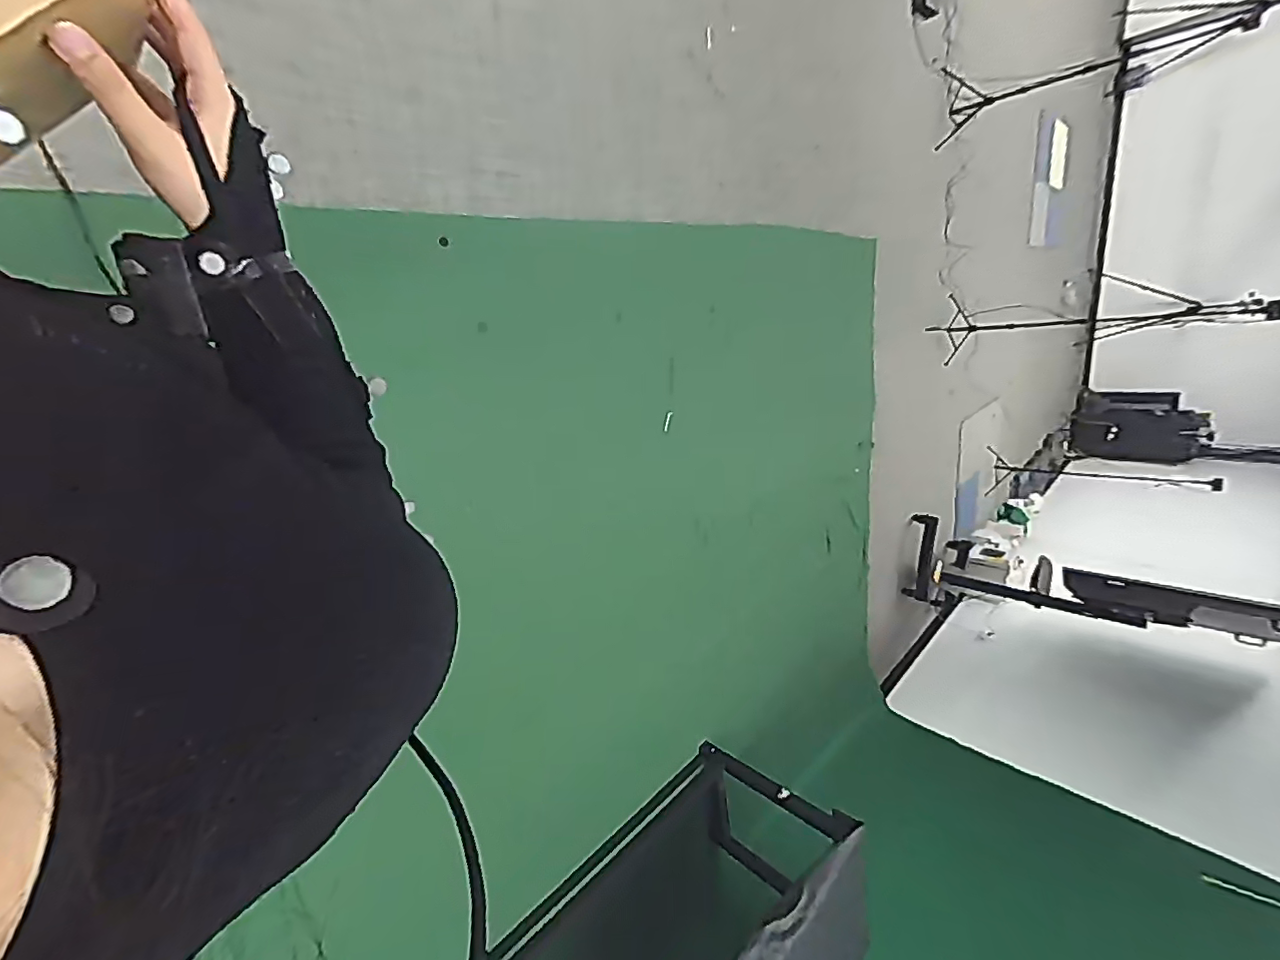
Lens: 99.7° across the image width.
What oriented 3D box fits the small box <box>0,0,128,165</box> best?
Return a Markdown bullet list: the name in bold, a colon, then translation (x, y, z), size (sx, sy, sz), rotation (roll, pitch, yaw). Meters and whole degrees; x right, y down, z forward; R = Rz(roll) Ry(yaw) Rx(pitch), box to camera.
- **small box**: translation (-0.363, -0.238, 0.226), size (0.179, 0.176, 0.168), rotation (-58, 134, -18)
